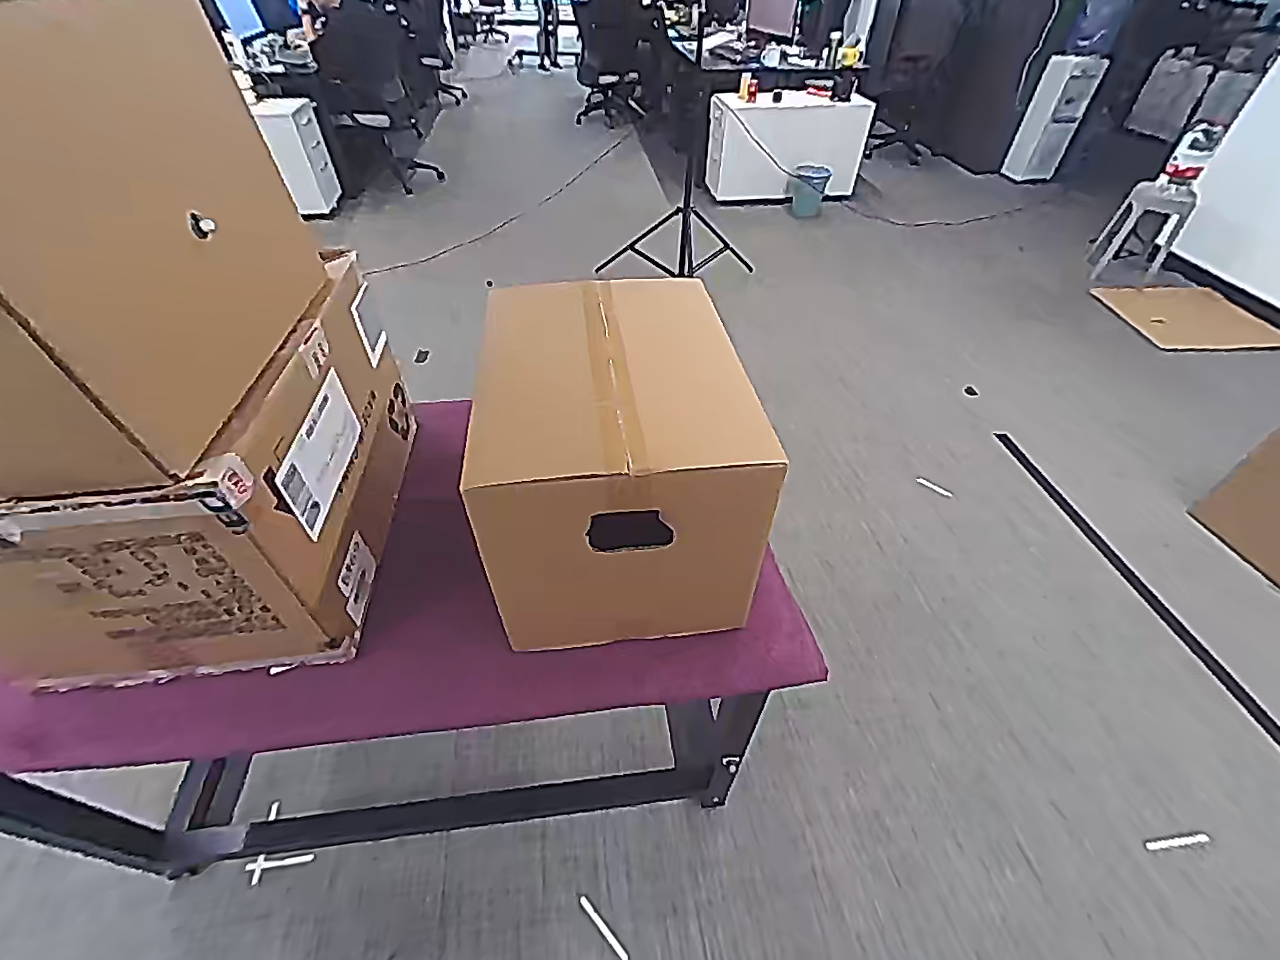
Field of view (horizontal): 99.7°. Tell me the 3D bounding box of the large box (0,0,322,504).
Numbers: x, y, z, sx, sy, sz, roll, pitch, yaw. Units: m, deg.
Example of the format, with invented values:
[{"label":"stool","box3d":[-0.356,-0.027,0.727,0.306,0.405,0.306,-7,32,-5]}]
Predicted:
[{"label":"large box","box3d":[-0.571,-0.226,0.506,0.320,0.320,0.408,-7,46,-2]}]
